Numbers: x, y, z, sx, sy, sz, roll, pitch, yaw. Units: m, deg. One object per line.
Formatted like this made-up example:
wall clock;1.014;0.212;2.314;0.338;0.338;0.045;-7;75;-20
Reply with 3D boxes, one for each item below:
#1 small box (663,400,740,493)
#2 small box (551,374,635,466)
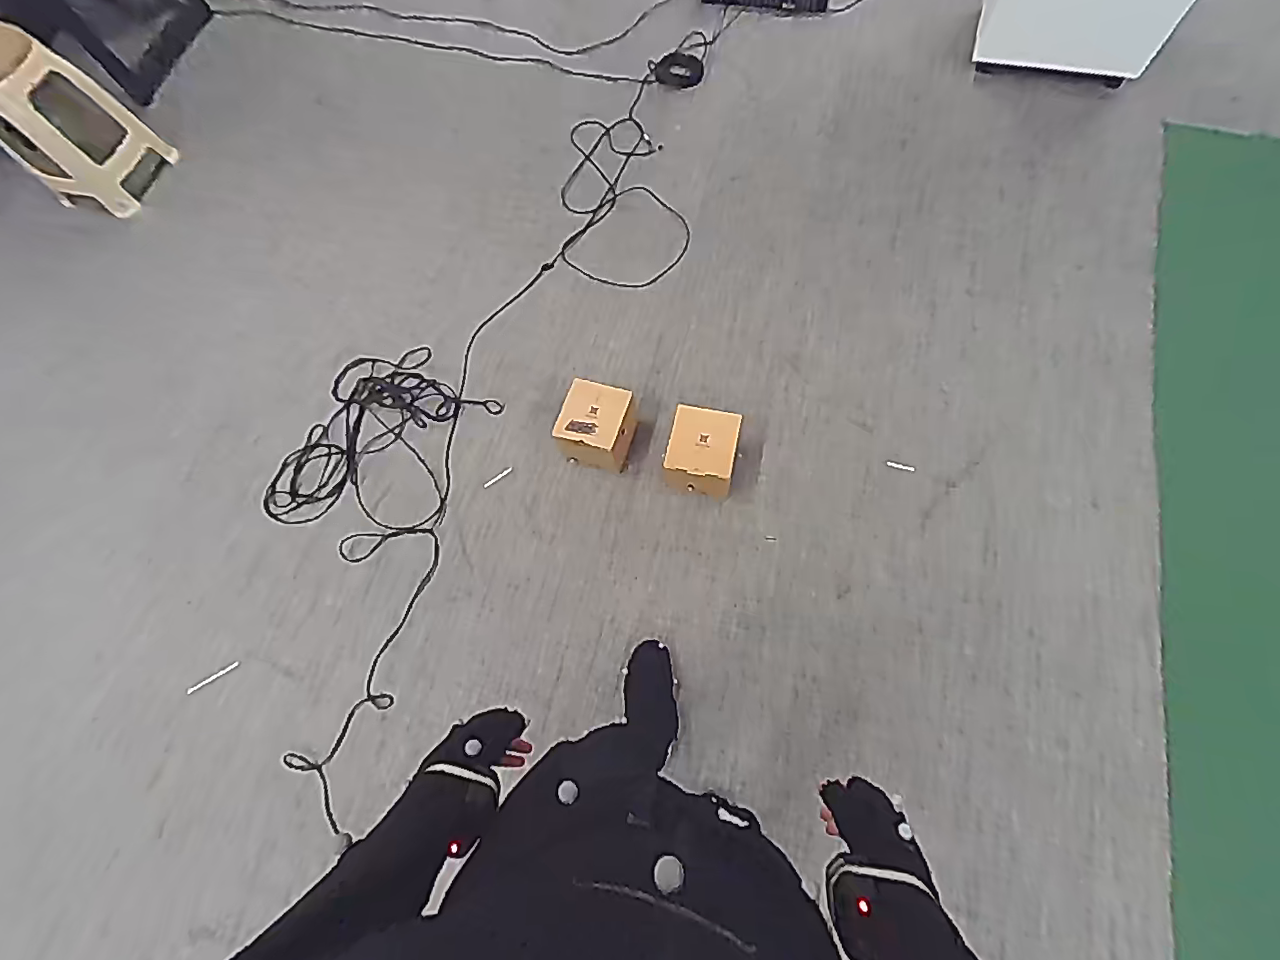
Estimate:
small box;0.159;-0.083;1.415;0.168;0.176;0.179;11;73;9
small box;-0.118;-0.155;1.465;0.168;0.176;0.179;15;72;10
